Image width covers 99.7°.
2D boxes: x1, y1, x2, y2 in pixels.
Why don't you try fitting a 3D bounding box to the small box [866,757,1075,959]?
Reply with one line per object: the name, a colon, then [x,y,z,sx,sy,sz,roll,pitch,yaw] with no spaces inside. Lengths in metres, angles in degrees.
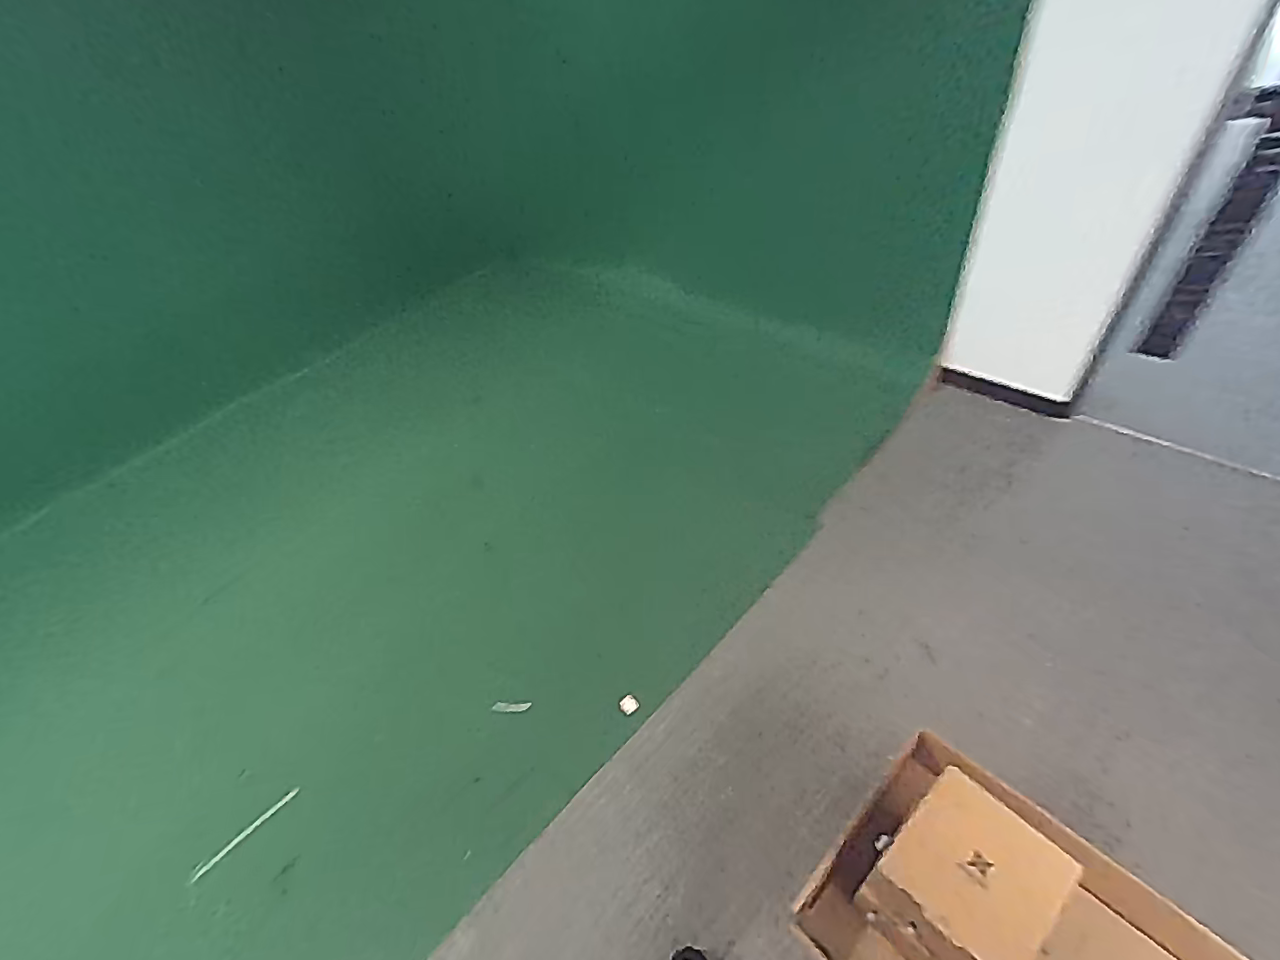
small box: [0.430,0.525,0.734,0.179,0.176,0.168,-38,51,-20]
